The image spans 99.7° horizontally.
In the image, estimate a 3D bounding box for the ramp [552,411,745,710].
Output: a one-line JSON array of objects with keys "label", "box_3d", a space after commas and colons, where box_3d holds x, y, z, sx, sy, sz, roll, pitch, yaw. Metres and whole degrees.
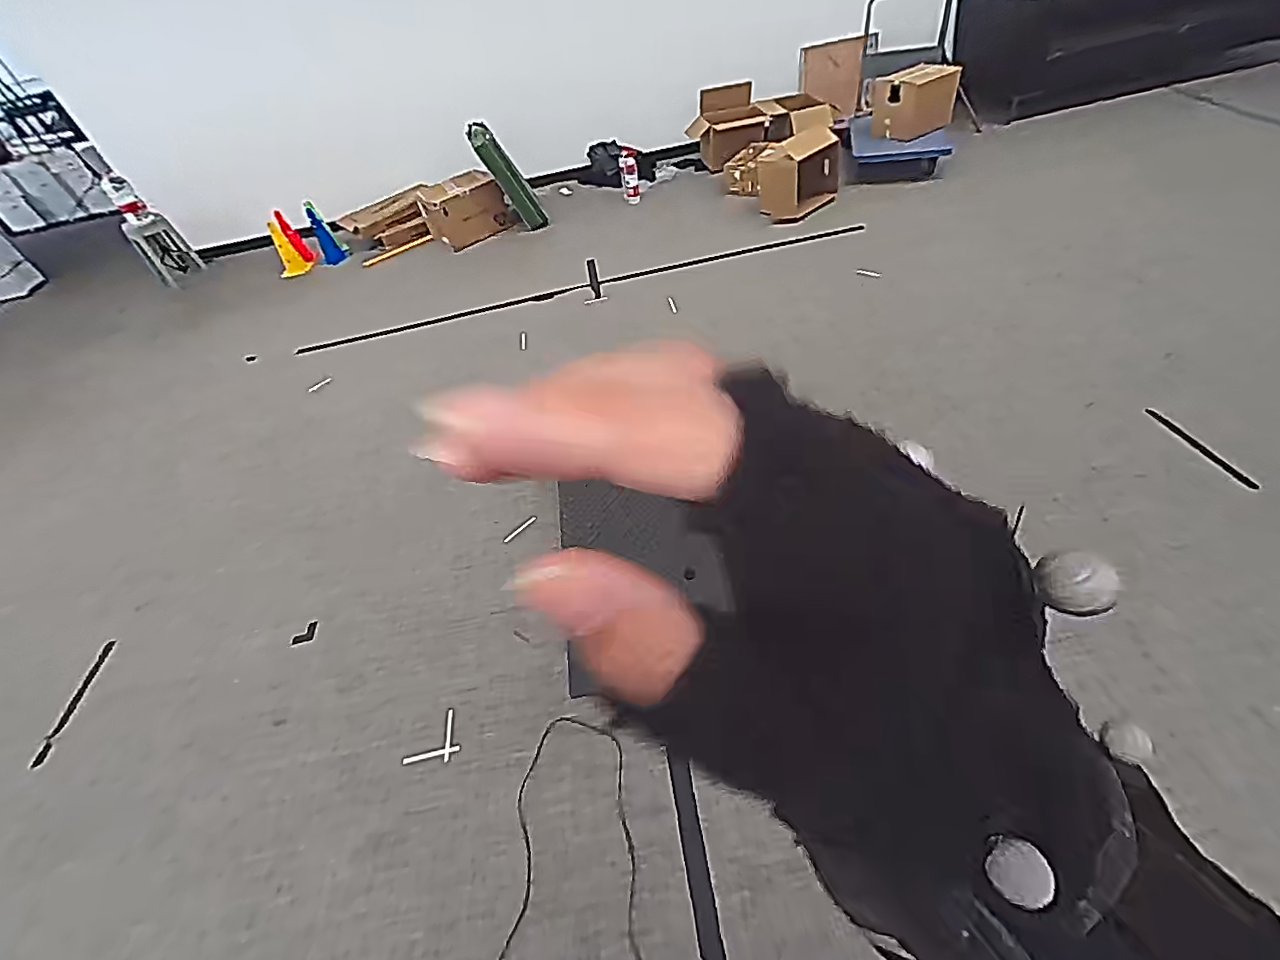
[{"label": "ramp", "box_3d": [-0.018, 0.190, 1.768, 0.509, 0.206, 0.991, -12, 45, -1]}]
